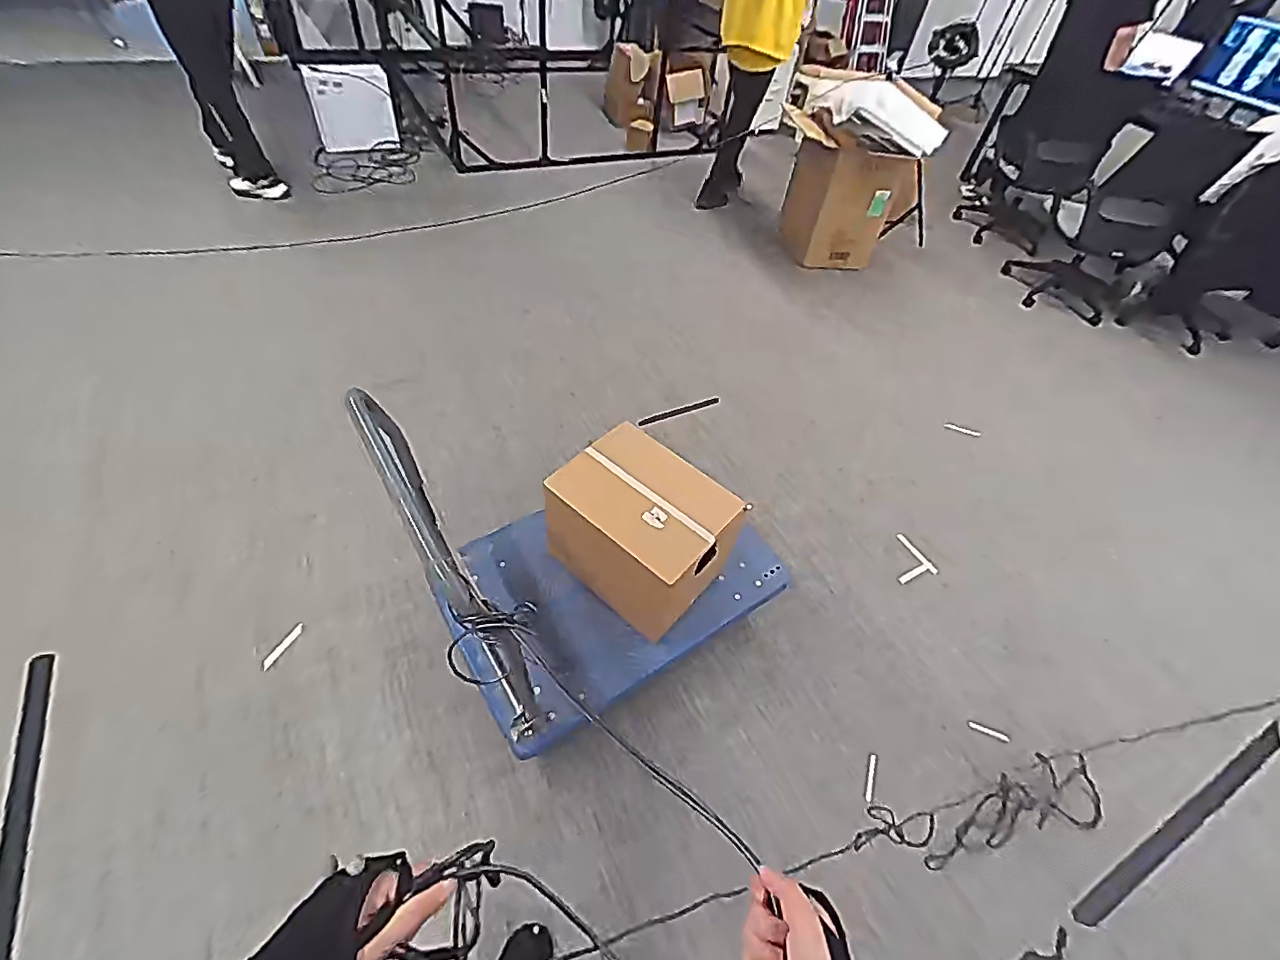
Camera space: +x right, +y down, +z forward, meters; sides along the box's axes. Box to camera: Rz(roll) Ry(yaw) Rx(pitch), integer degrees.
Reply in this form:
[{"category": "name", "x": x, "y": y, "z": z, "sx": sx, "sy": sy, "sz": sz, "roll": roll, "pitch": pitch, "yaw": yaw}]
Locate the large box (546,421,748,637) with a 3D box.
[{"category": "large box", "x": 0.001, "y": 0.123, "z": 1.415, "sx": 0.408, "sy": 0.320, "sz": 0.320, "roll": 37, "pitch": 56, "yaw": 20}]
